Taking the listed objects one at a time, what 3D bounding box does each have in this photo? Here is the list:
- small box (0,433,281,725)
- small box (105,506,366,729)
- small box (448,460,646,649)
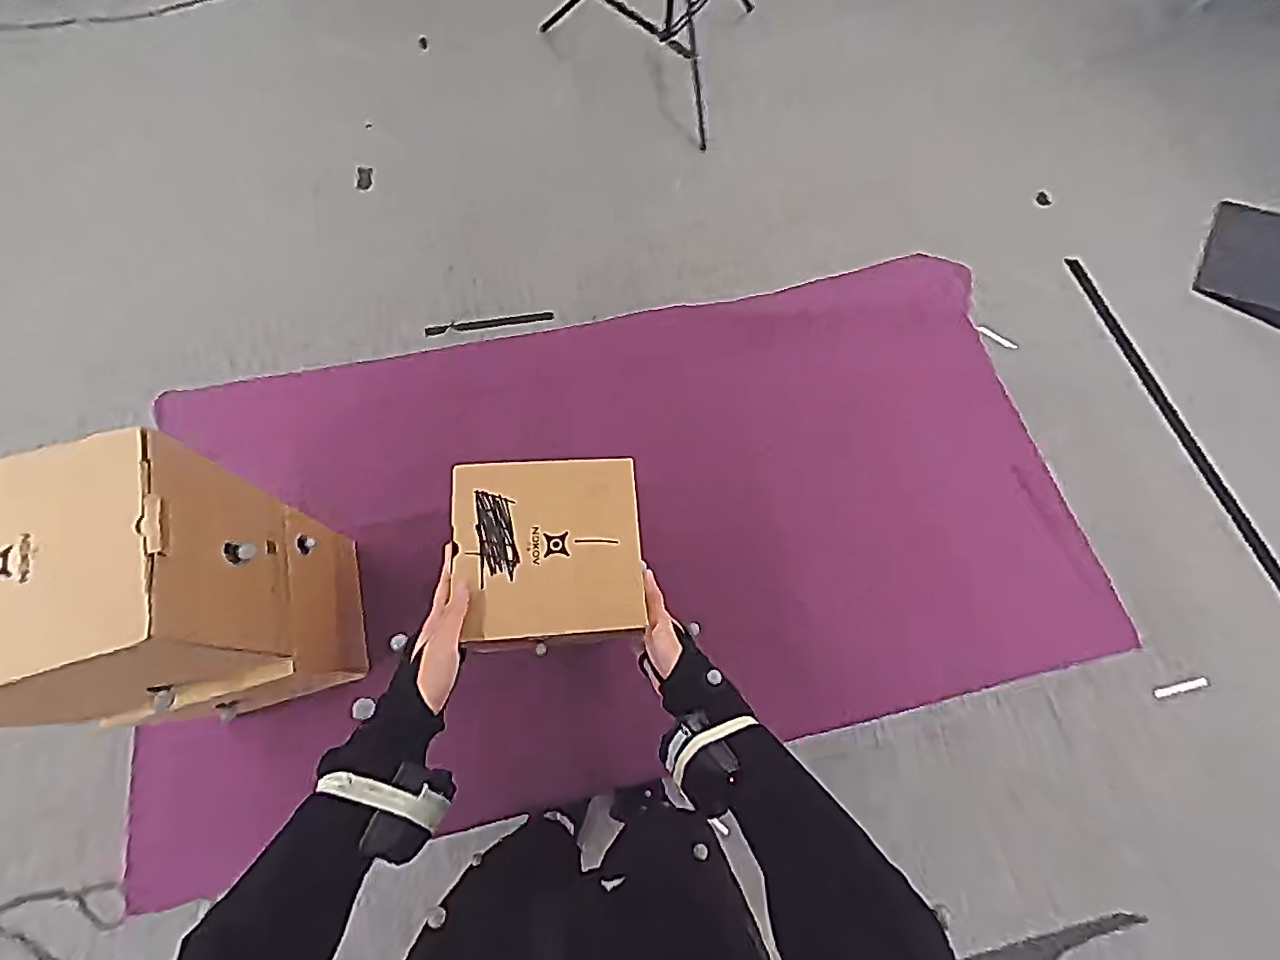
[{"bbox_3d":[-0.424,0.087,0.440,0.179,0.176,0.168,-17,70,-9],"label":"small box"},{"bbox_3d":[-0.423,0.151,0.592,0.168,0.176,0.179,-15,70,-8],"label":"small box"},{"bbox_3d":[-0.092,0.086,0.575,0.179,0.176,0.168,-2,71,-7],"label":"small box"}]
